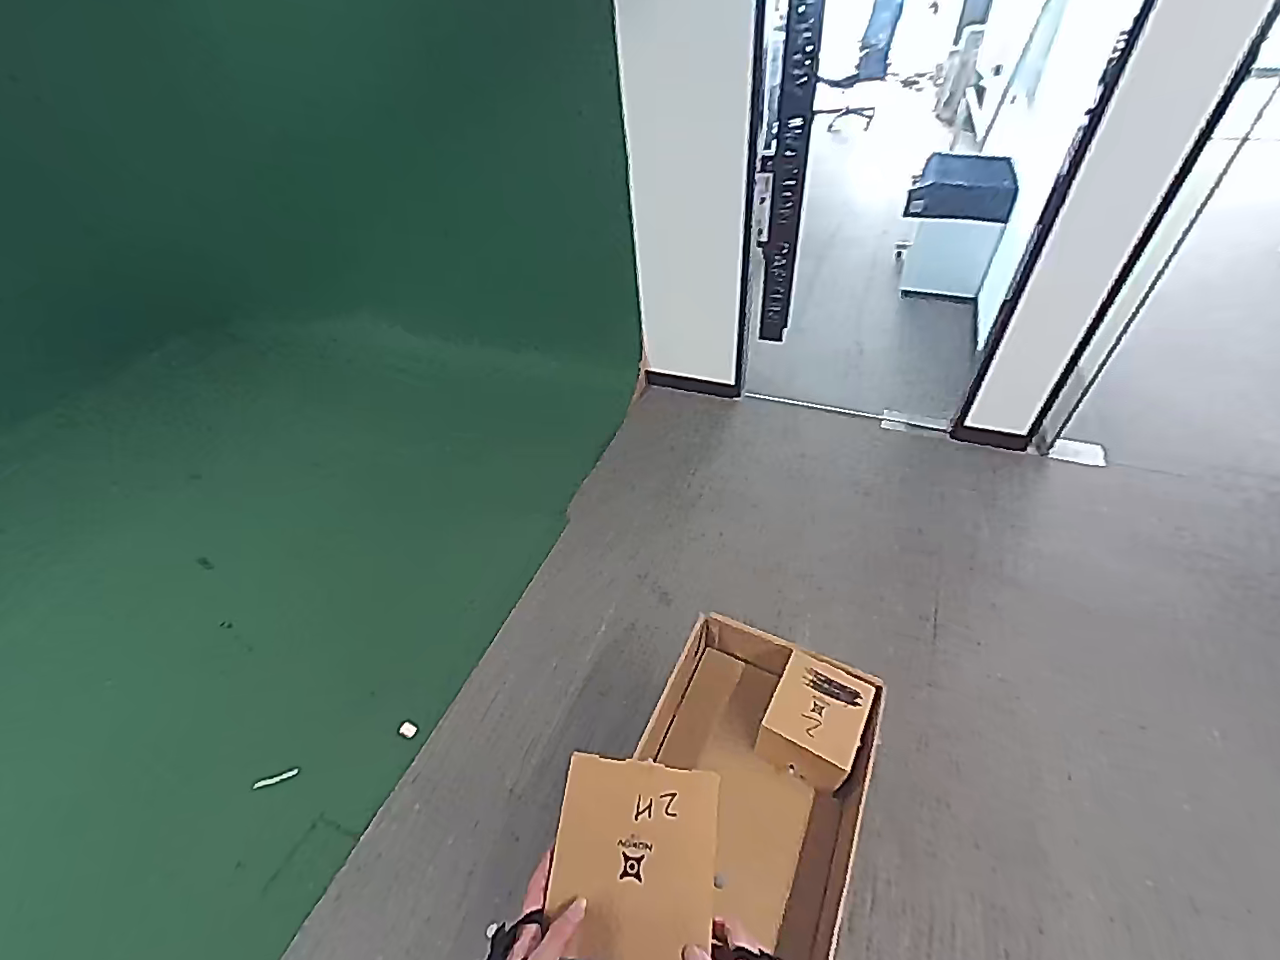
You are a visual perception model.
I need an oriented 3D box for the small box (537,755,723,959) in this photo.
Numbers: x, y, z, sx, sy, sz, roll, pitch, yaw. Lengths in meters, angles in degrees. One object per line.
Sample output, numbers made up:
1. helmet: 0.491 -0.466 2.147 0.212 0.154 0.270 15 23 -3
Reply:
1. small box: -0.003 0.427 0.607 0.168 0.176 0.179 7 57 5
